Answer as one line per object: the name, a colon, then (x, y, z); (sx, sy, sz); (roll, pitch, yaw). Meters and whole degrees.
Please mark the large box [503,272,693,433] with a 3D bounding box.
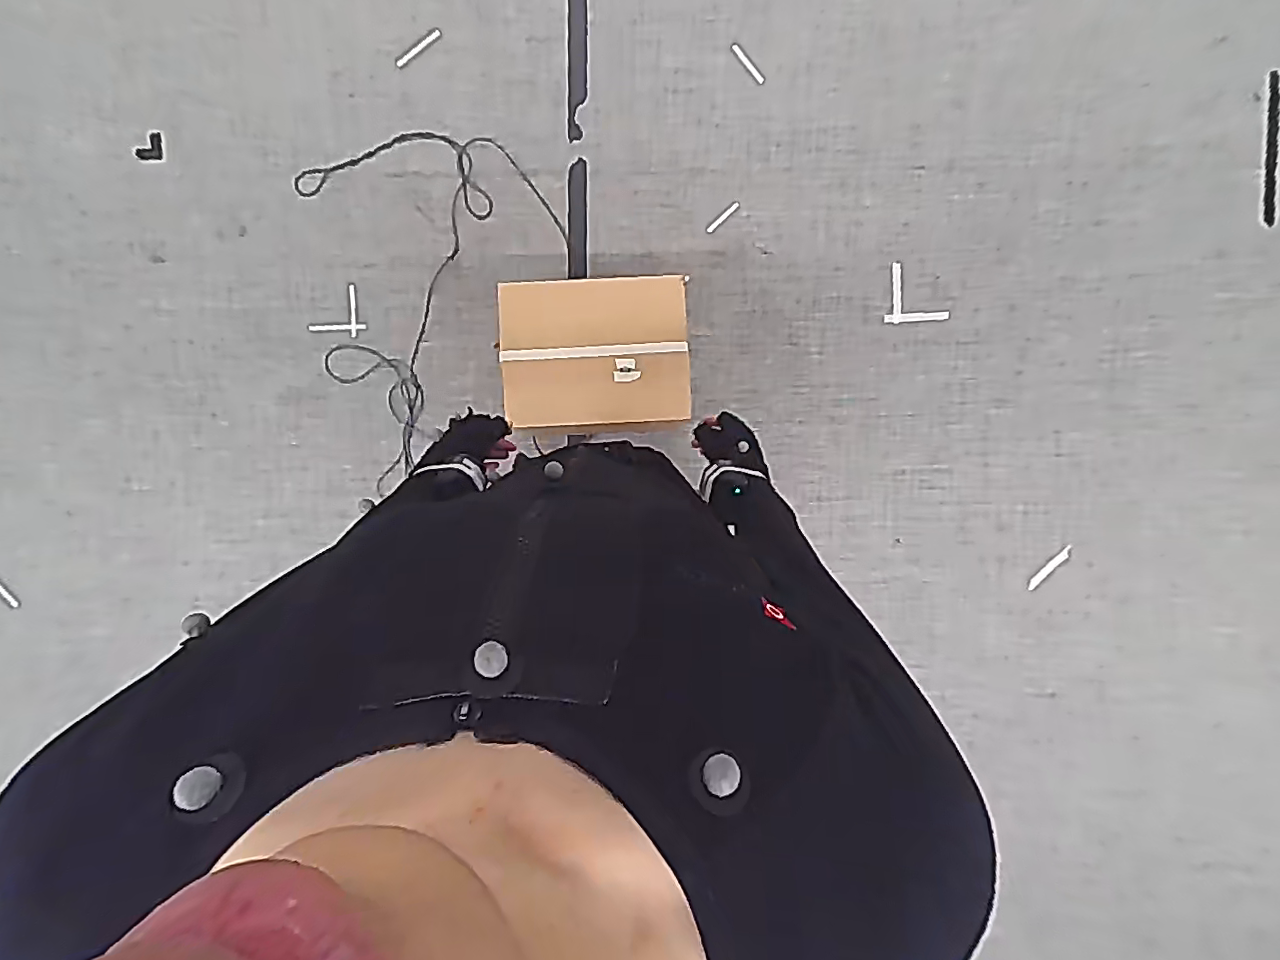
large box: (-0.095, -0.291, 1.325); (0.408, 0.320, 0.320); (-3, 92, -1)
